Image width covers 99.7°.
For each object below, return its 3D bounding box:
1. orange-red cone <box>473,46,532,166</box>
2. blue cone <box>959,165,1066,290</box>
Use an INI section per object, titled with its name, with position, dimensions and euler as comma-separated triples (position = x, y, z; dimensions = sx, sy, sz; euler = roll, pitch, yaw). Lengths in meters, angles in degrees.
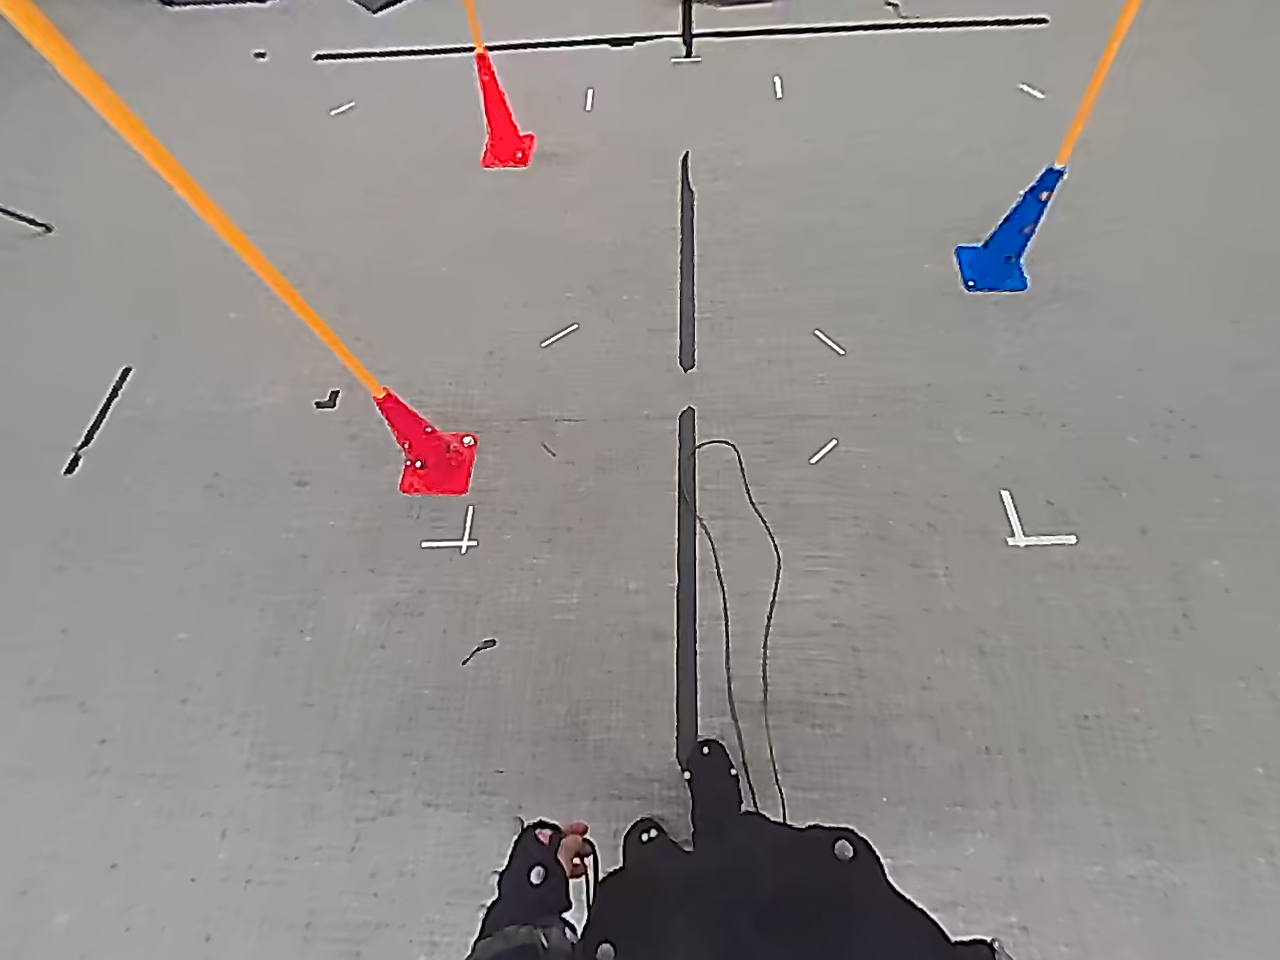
[orange-red cone]
position = -0.548, -1.401, 2.009
dimensions = 0.198, 0.360, 0.199
euler = 3, 64, 4
[blue cone]
position = 1.148, -0.774, 1.636
dimensions = 0.193, 0.380, 0.192
euler = 3, 65, 5
